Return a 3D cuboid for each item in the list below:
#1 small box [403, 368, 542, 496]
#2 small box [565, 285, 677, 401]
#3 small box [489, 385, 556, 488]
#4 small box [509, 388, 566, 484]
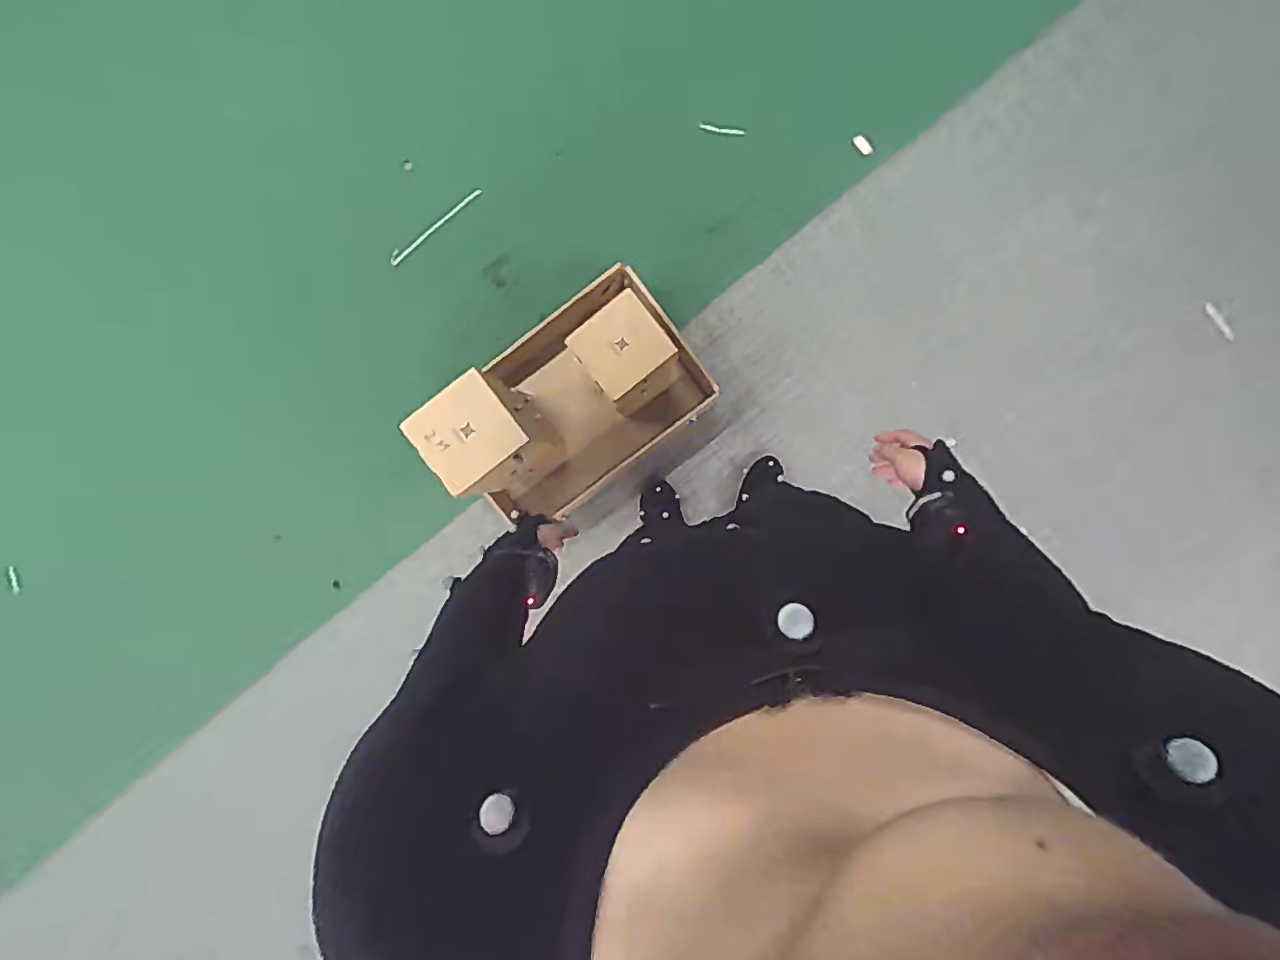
[{"bbox_3d":[-0.306,-0.089,1.038,0.179,0.176,0.168,-38,91,3],"label":"small box"},{"bbox_3d":[-0.035,-0.288,1.184,0.179,0.176,0.168,-39,93,4],"label":"small box"},{"bbox_3d":[-0.311,-0.092,1.204,0.179,0.176,0.168,-38,92,2],"label":"small box"},{"bbox_3d":[-0.308,-0.111,1.367,0.168,0.176,0.179,-38,92,3],"label":"small box"}]
